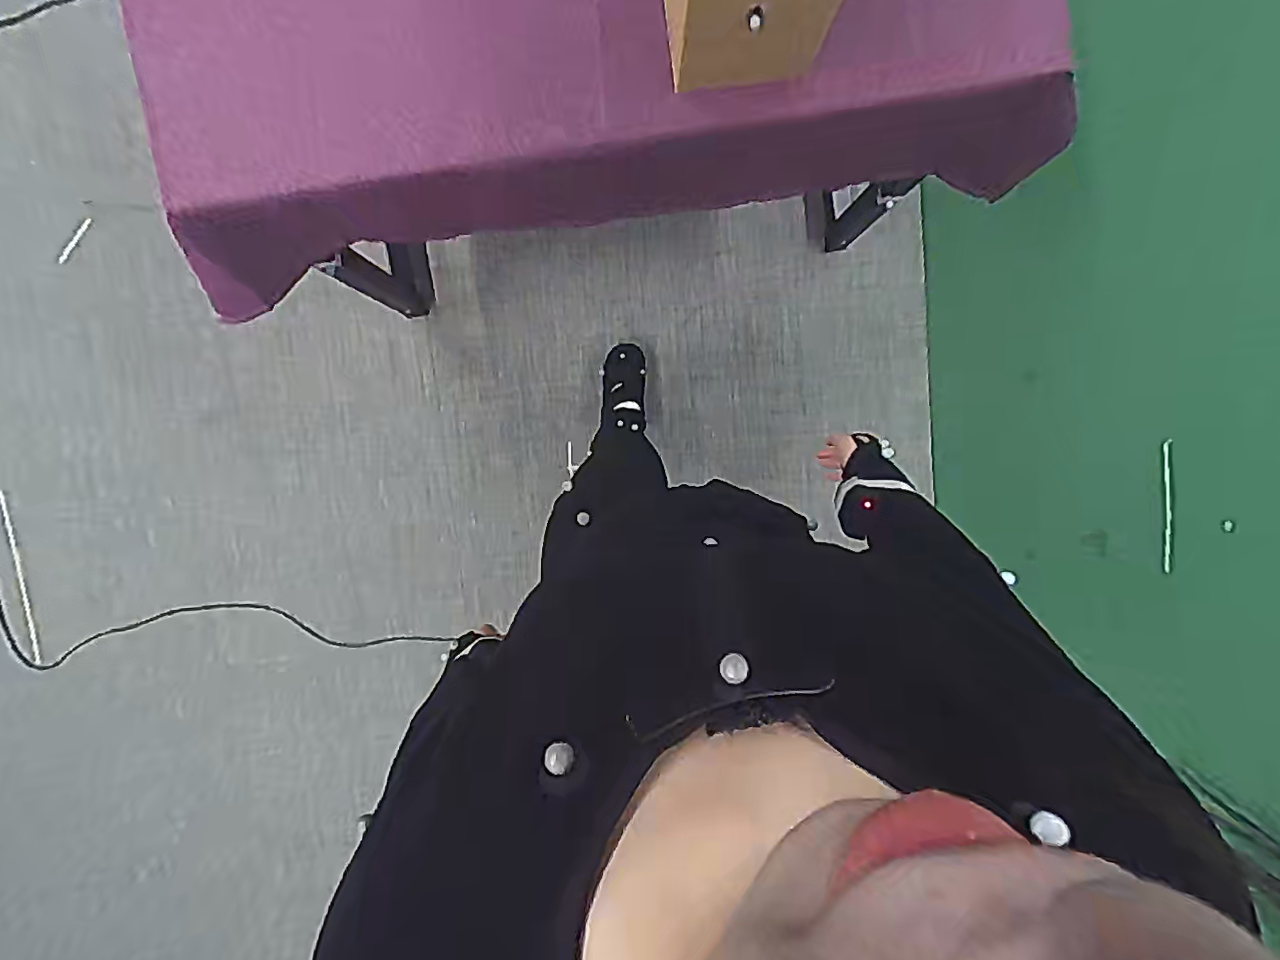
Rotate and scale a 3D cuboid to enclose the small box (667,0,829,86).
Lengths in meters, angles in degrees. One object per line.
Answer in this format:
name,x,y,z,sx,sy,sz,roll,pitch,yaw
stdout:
small box,0.120,-0.590,0.618,0.179,0.176,0.168,-7,95,0
